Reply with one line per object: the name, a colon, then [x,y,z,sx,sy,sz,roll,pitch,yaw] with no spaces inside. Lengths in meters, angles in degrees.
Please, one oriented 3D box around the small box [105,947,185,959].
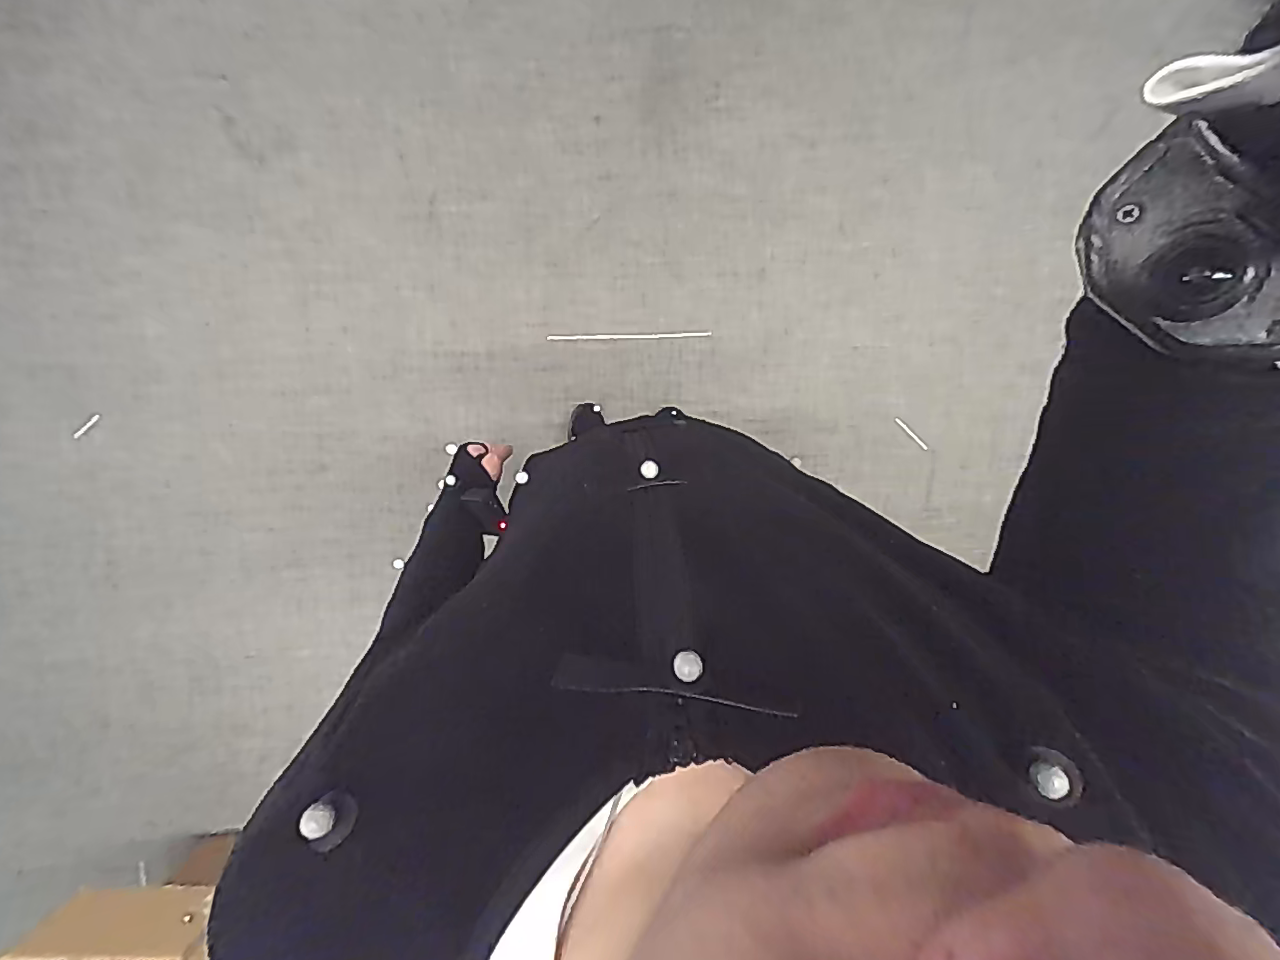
small box: [-1.165,1.197,1.212,0.179,0.176,0.168,3,97,-3]
